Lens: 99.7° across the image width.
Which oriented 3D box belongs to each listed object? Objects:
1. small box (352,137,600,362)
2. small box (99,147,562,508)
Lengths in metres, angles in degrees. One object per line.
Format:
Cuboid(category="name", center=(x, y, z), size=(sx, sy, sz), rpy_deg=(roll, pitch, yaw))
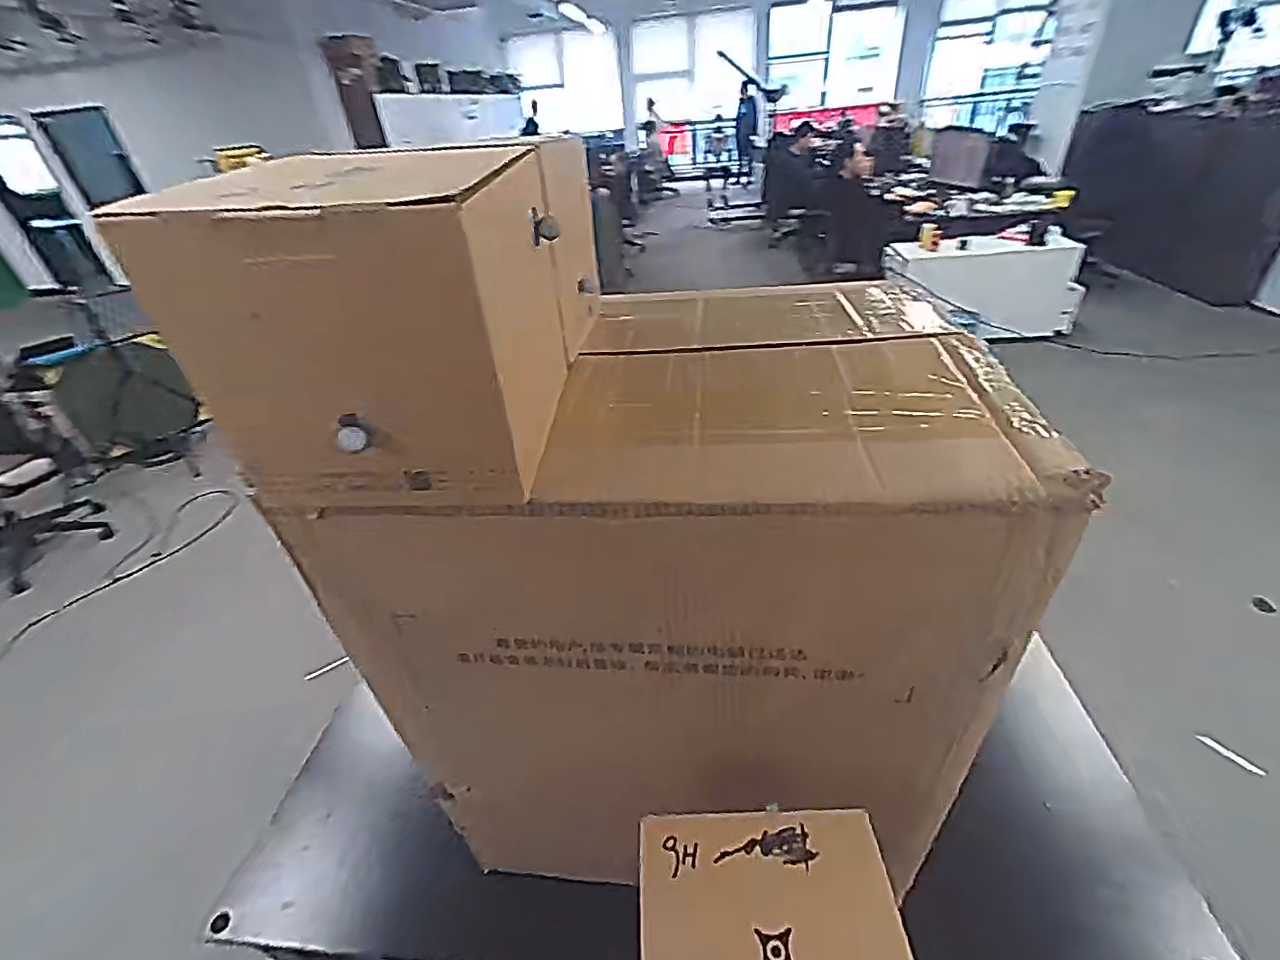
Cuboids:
Cuboid(category="small box", center=(-0.142, -0.206, 0.492), size=(0.179, 0.176, 0.168), rpy_deg=(0, 34, 7))
Cuboid(category="small box", center=(-0.148, -0.101, 0.343), size=(0.168, 0.176, 0.179), rpy_deg=(-1, 38, 3))
